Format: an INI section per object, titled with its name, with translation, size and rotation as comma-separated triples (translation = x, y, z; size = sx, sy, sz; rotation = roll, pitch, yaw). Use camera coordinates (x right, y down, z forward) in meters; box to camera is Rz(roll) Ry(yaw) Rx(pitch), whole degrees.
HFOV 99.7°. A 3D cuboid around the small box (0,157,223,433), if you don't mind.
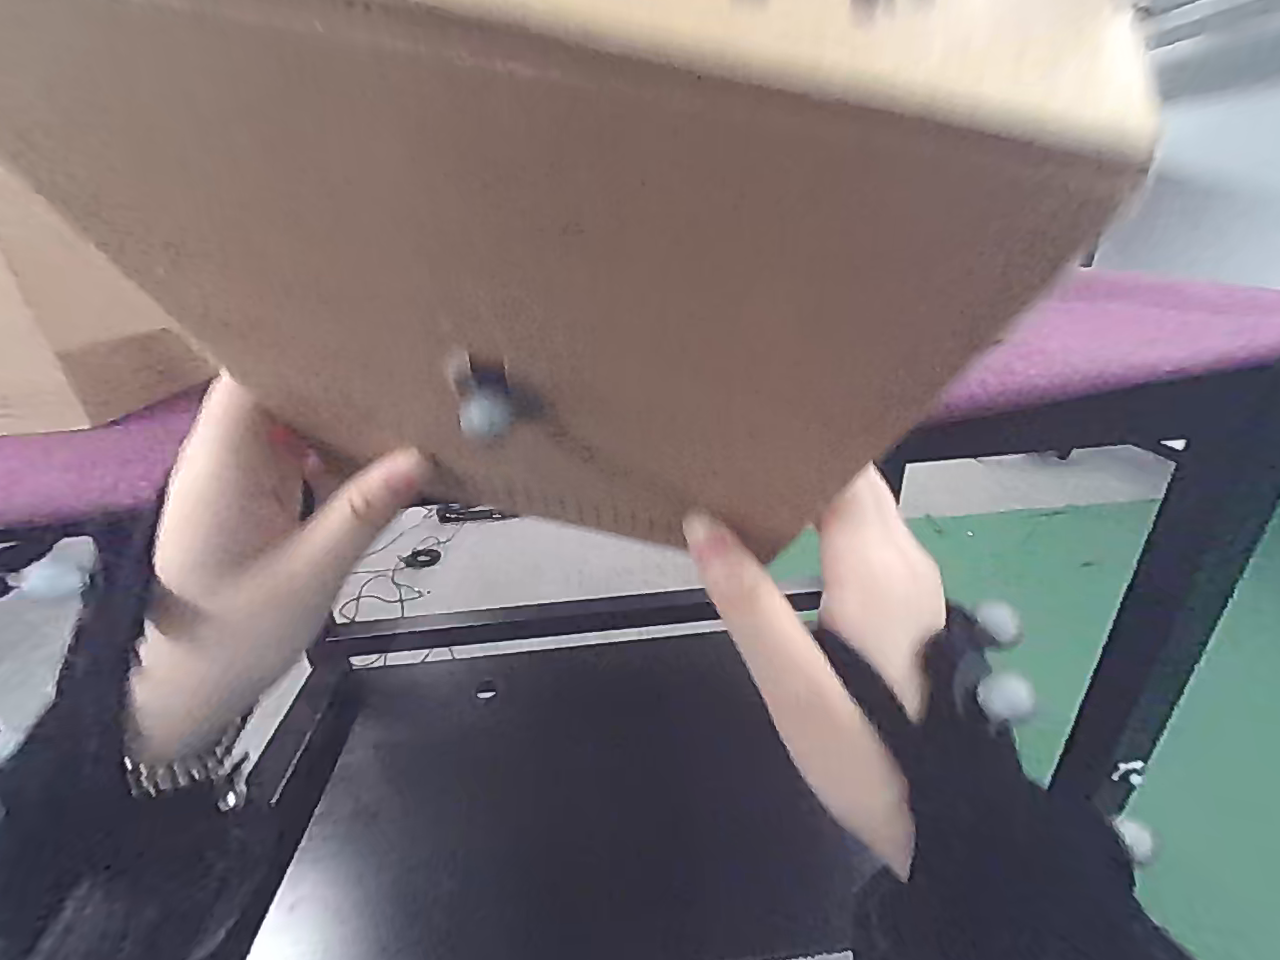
[small box]
translation = -0.465, -0.137, 0.406
size = 0.168, 0.176, 0.179
rotation = -4, 26, -5
